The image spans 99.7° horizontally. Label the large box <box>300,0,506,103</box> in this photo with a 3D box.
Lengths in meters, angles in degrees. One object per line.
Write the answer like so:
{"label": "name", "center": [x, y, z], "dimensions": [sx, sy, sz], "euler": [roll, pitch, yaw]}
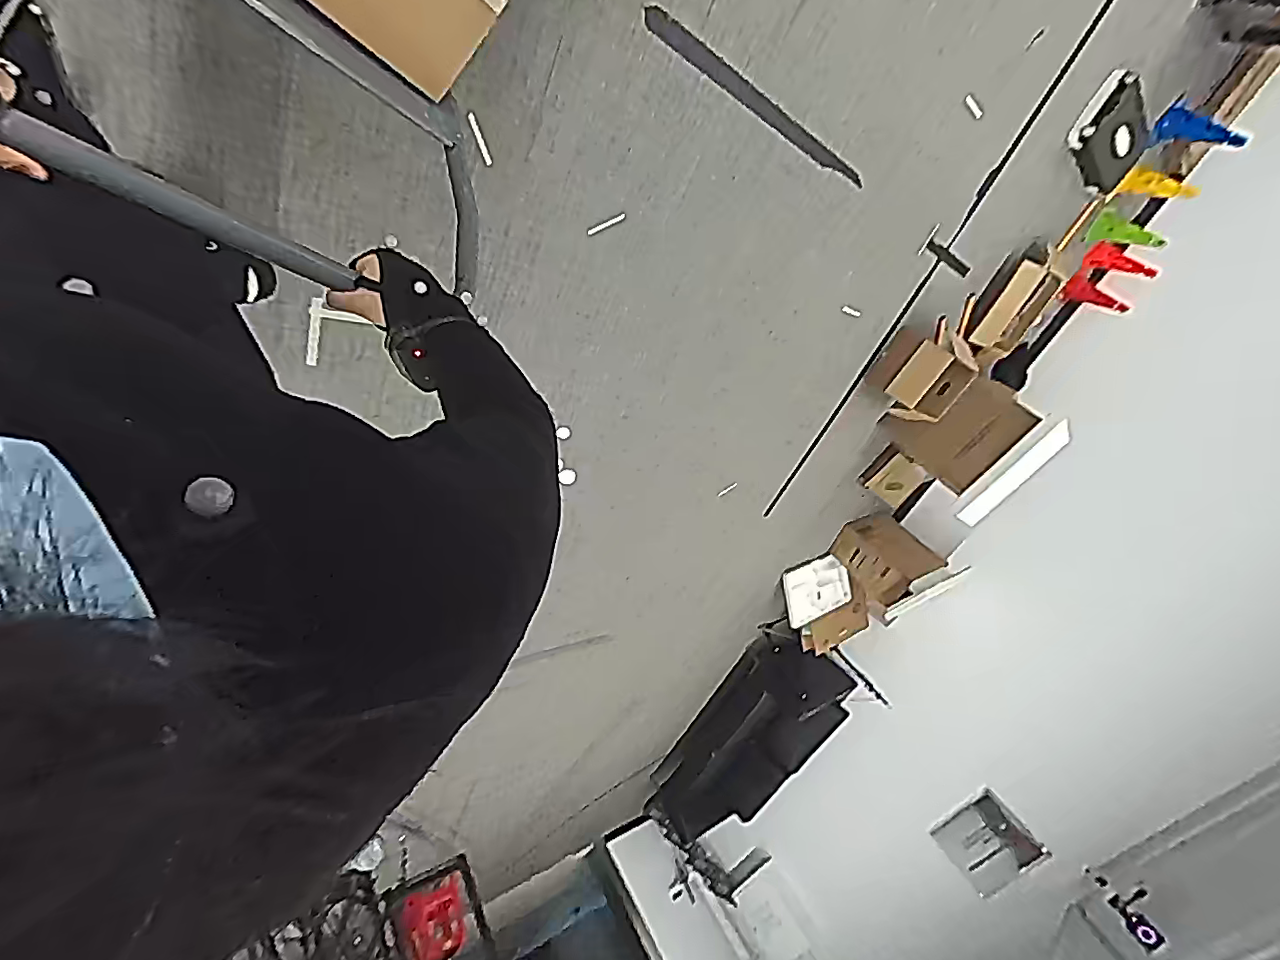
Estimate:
{"label": "large box", "center": [-0.357, -0.779, 0.626], "dimensions": [0.320, 0.320, 0.408], "euler": [-35, 151, 27]}
